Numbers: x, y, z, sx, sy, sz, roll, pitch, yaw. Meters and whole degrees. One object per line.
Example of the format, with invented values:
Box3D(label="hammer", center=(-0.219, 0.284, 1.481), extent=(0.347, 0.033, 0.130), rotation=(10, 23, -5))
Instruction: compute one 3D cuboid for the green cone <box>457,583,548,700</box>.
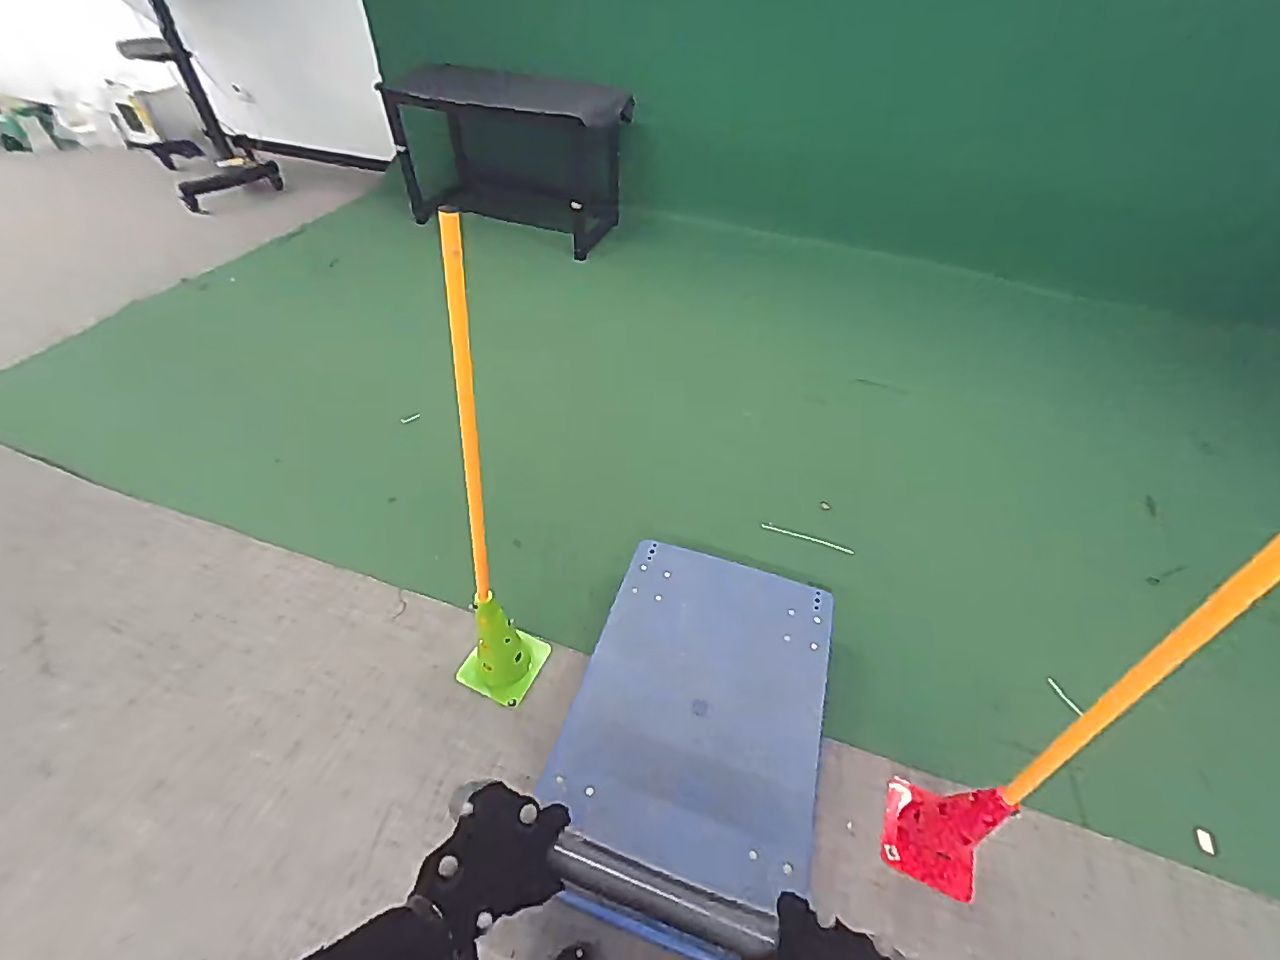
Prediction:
Box3D(label="green cone", center=(-0.379, 0.382, 1.406), extent=(0.202, 0.368, 0.200), rotation=(19, 48, 15))
